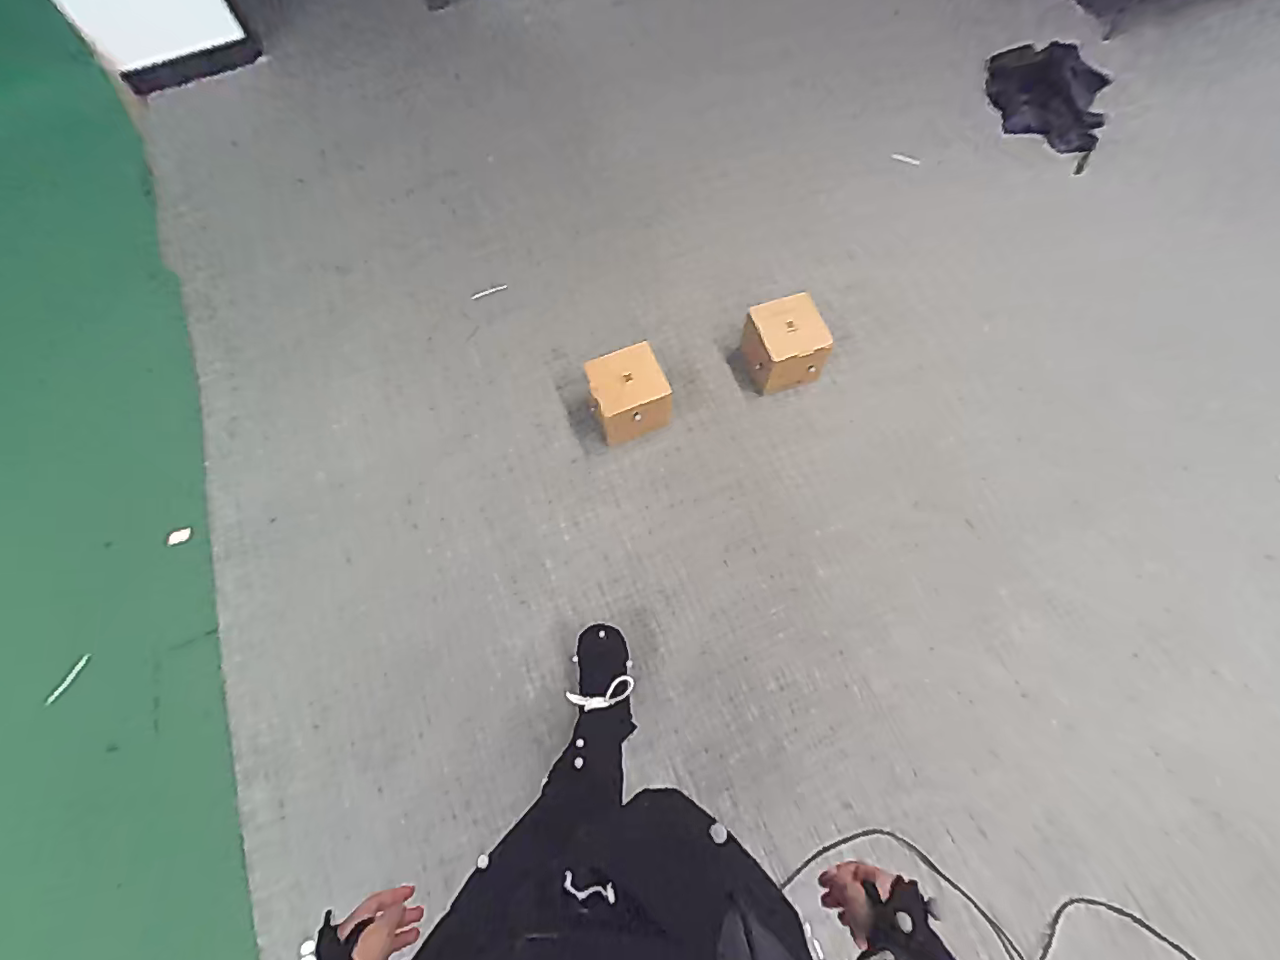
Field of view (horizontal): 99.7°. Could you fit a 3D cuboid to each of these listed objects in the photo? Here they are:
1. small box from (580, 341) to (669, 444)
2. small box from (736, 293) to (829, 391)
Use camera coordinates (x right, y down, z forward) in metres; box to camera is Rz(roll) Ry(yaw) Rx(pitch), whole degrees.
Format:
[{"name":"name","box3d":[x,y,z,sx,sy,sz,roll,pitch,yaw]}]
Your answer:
[{"name":"small box","box3d":[-0.039,-0.218,1.381,0.179,0.176,0.168,-22,70,-7]},{"name":"small box","box3d":[0.367,-0.354,1.426,0.168,0.176,0.179,-17,68,-7]}]
